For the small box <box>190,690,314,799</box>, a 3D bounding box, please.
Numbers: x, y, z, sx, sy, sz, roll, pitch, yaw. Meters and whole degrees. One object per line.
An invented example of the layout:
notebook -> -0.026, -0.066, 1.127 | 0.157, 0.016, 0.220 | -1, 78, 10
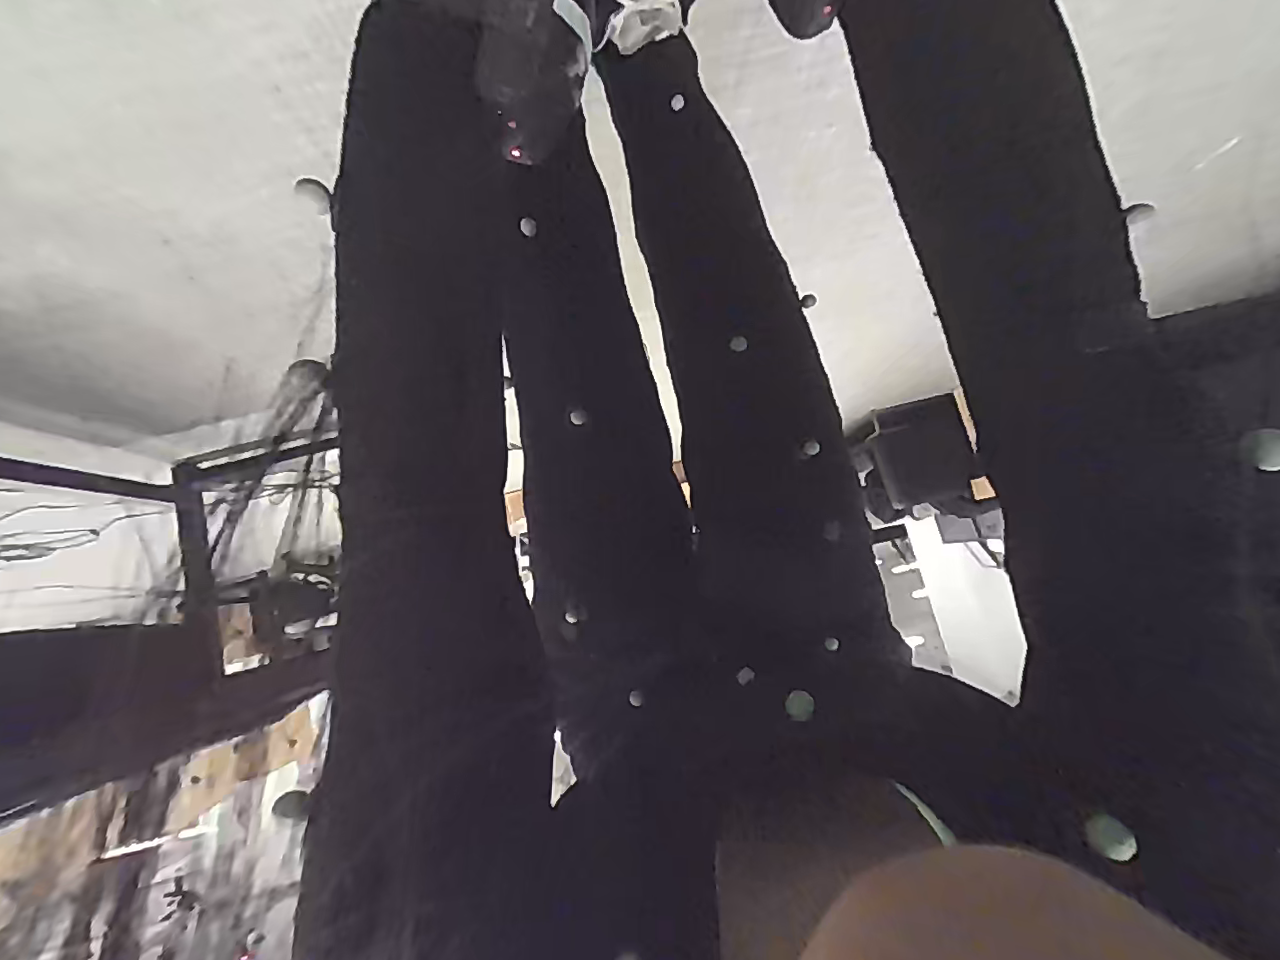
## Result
small box -> -0.925, 0.621, 1.291 | 0.168, 0.176, 0.179 | -15, 171, 2

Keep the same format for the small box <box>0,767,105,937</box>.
small box -> -0.909, 0.529, 0.746 | 0.168, 0.176, 0.179 | -13, 171, -1
